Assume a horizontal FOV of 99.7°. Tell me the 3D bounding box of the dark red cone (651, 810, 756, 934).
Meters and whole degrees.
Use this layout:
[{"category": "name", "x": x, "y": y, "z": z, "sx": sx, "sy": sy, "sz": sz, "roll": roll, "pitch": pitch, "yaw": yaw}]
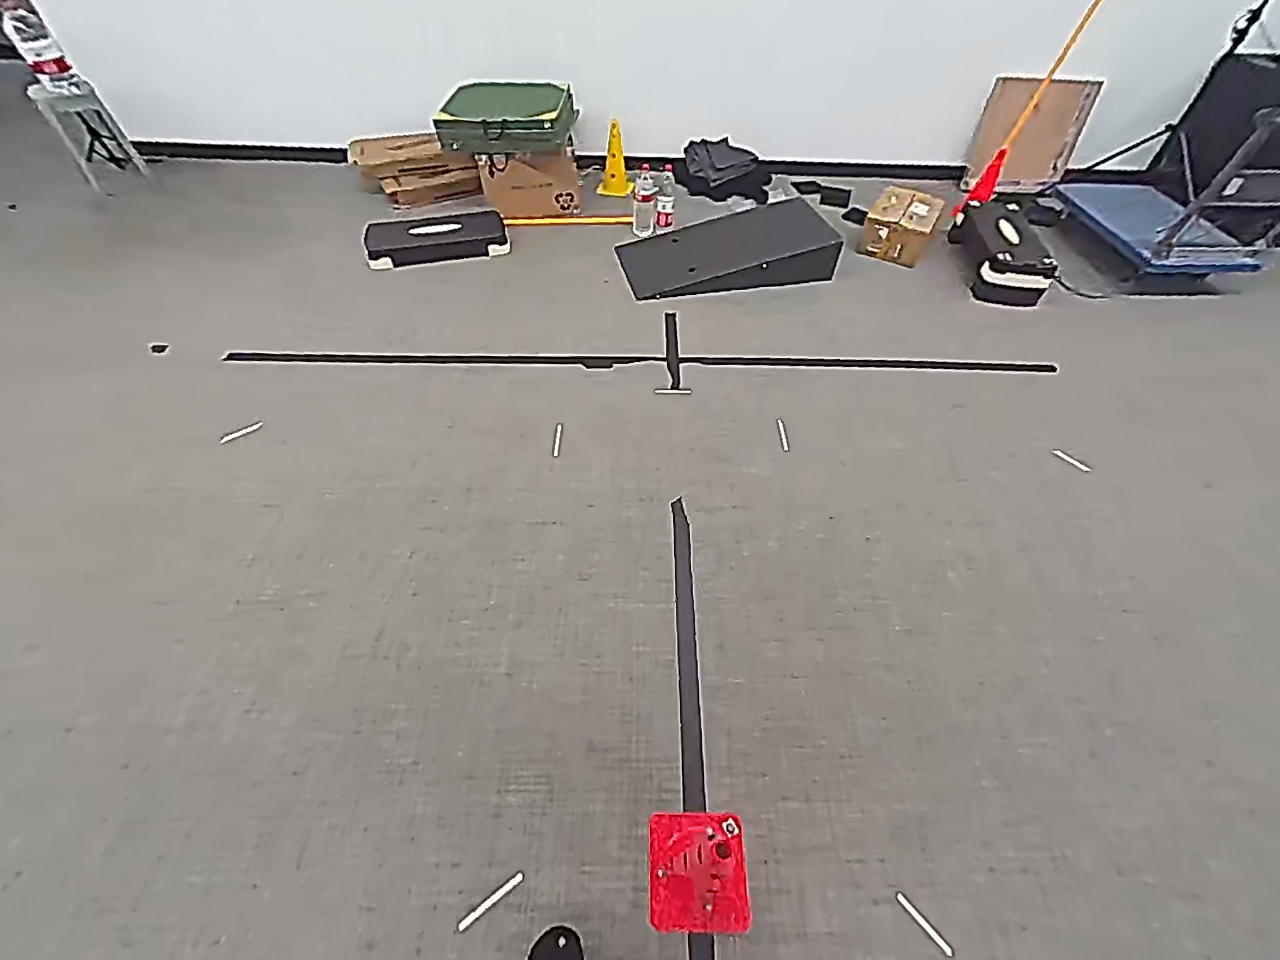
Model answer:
[{"category": "dark red cone", "x": 0.125, "y": 0.677, "z": 0.957, "sx": 0.201, "sy": 0.394, "sz": 0.202, "roll": 0, "pitch": 51, "yaw": -1}]
